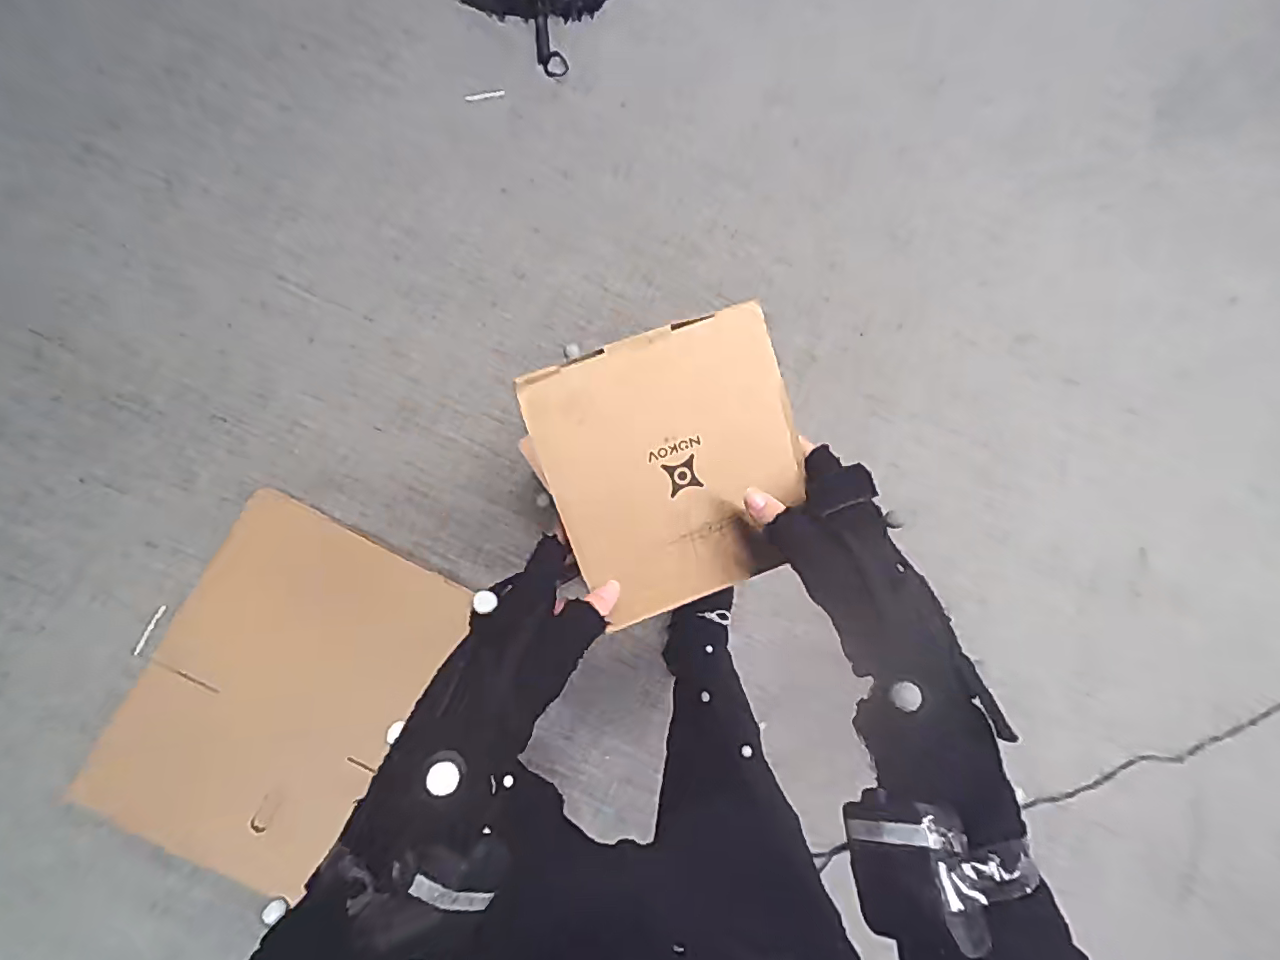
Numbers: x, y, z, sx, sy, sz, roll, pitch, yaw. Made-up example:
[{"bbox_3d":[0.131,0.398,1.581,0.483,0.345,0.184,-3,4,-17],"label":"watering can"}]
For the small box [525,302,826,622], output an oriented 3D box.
[{"bbox_3d":[0.016,-0.020,0.439,0.168,0.176,0.179,-21,100,-5],"label":"small box"}]
